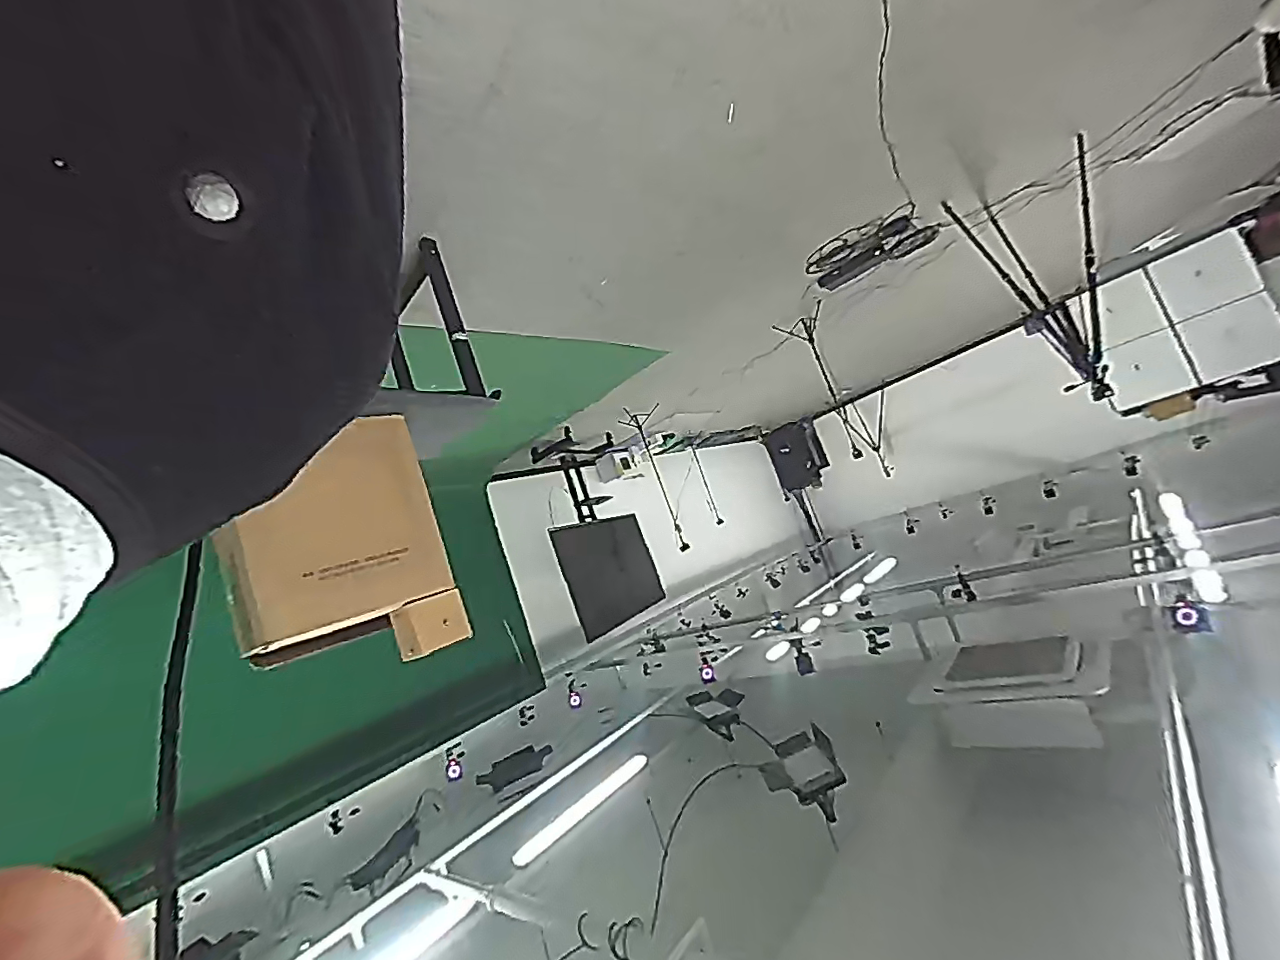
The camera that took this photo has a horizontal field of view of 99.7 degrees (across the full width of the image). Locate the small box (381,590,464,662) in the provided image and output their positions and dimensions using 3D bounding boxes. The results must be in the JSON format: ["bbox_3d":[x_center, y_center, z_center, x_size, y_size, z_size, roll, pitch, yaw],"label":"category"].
[{"bbox_3d":[-0.716,0.476,1.777,0.168,0.176,0.179,-27,172,42],"label":"small box"}]
